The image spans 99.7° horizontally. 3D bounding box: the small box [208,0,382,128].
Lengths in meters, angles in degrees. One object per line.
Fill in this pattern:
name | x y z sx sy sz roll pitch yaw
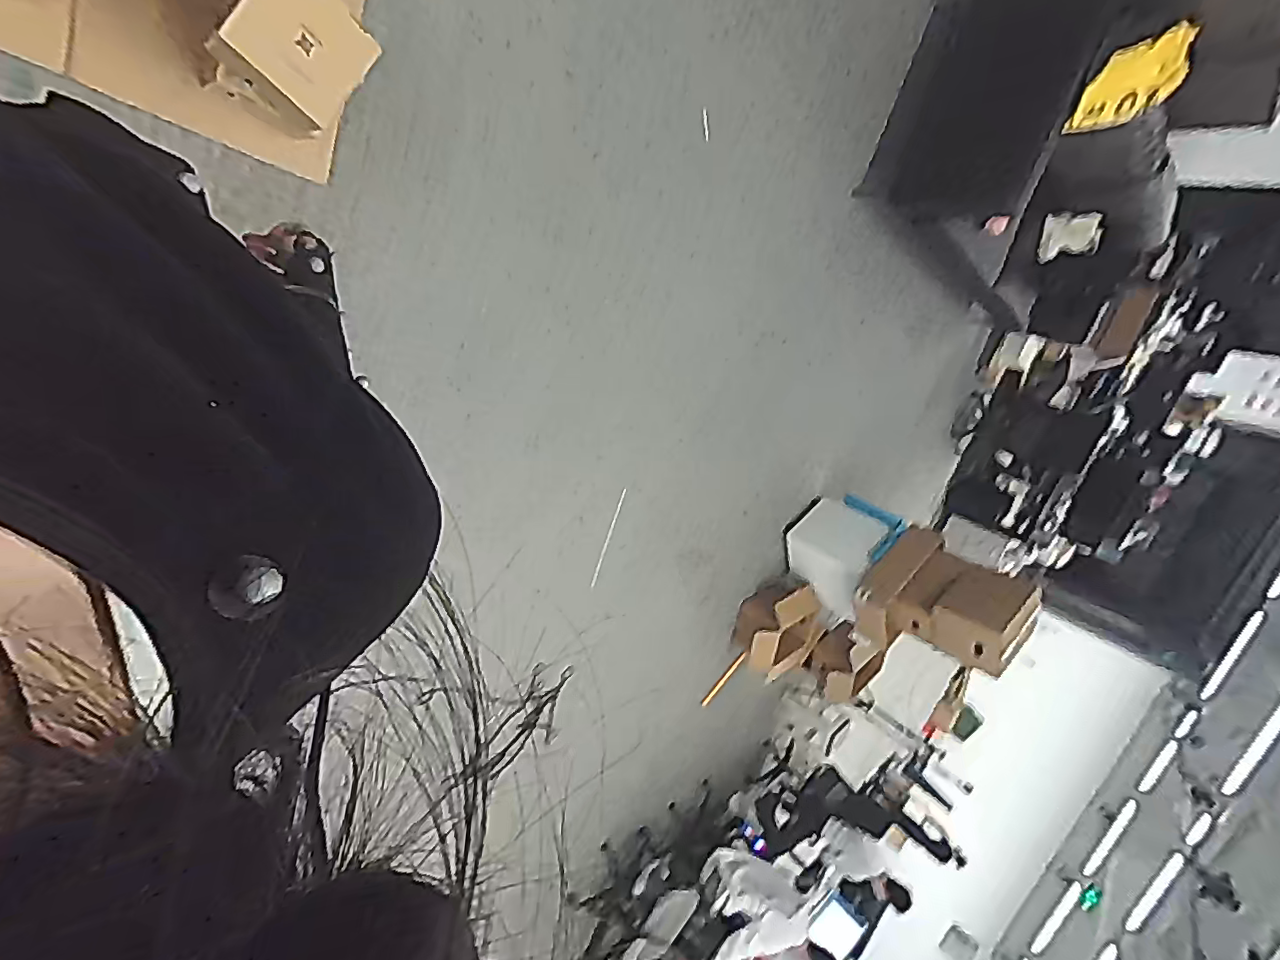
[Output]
small box | -0.578 -0.726 0.901 0.179 0.176 0.168 -56 140 -3
